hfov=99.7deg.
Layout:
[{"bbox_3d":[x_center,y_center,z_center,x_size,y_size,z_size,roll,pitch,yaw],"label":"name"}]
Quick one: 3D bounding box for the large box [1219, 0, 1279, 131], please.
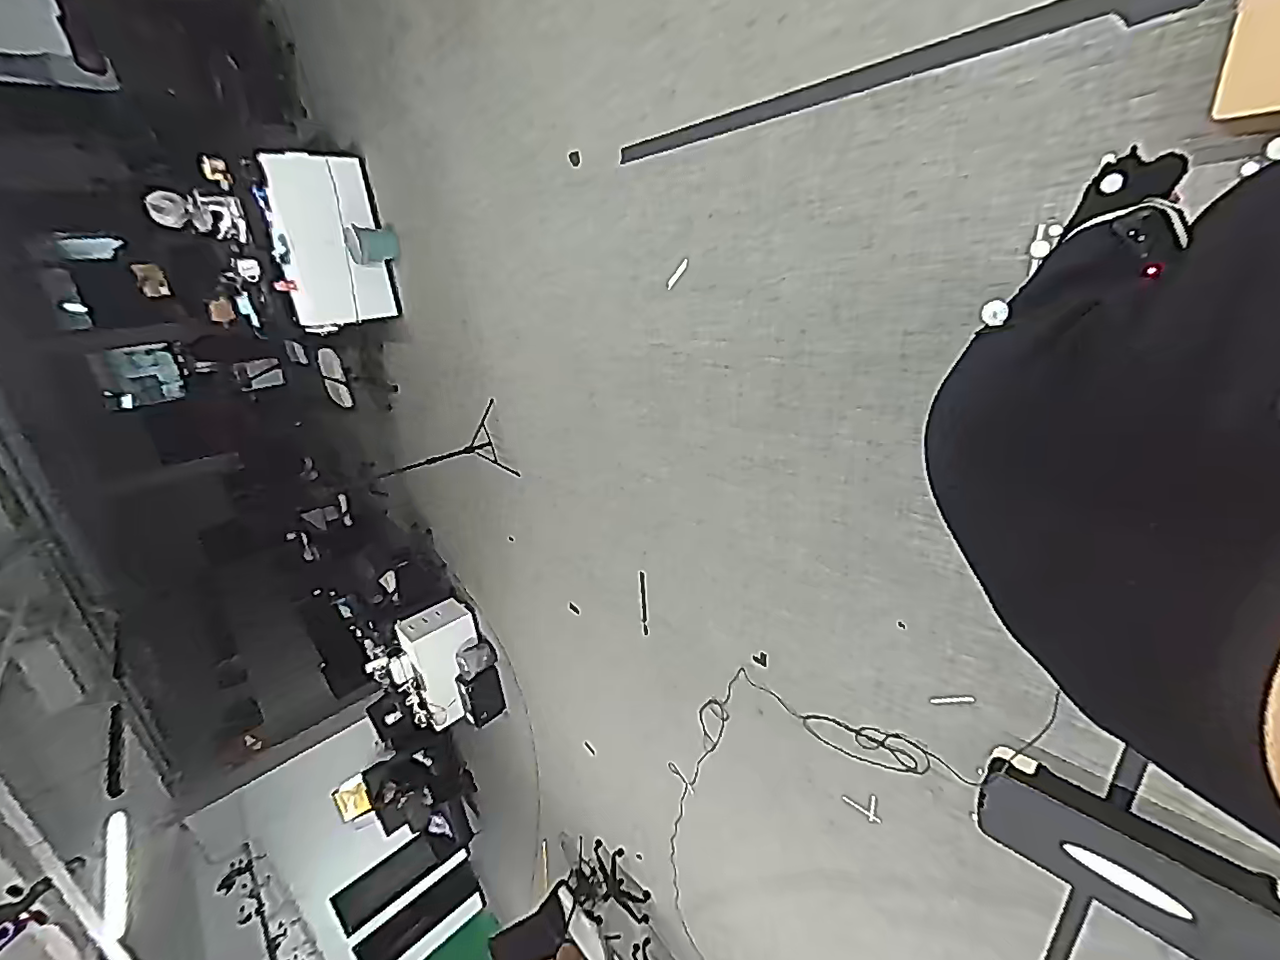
[{"bbox_3d":[1.029,-0.657,0.652,0.408,0.320,0.320,17,122,43],"label":"large box"}]
